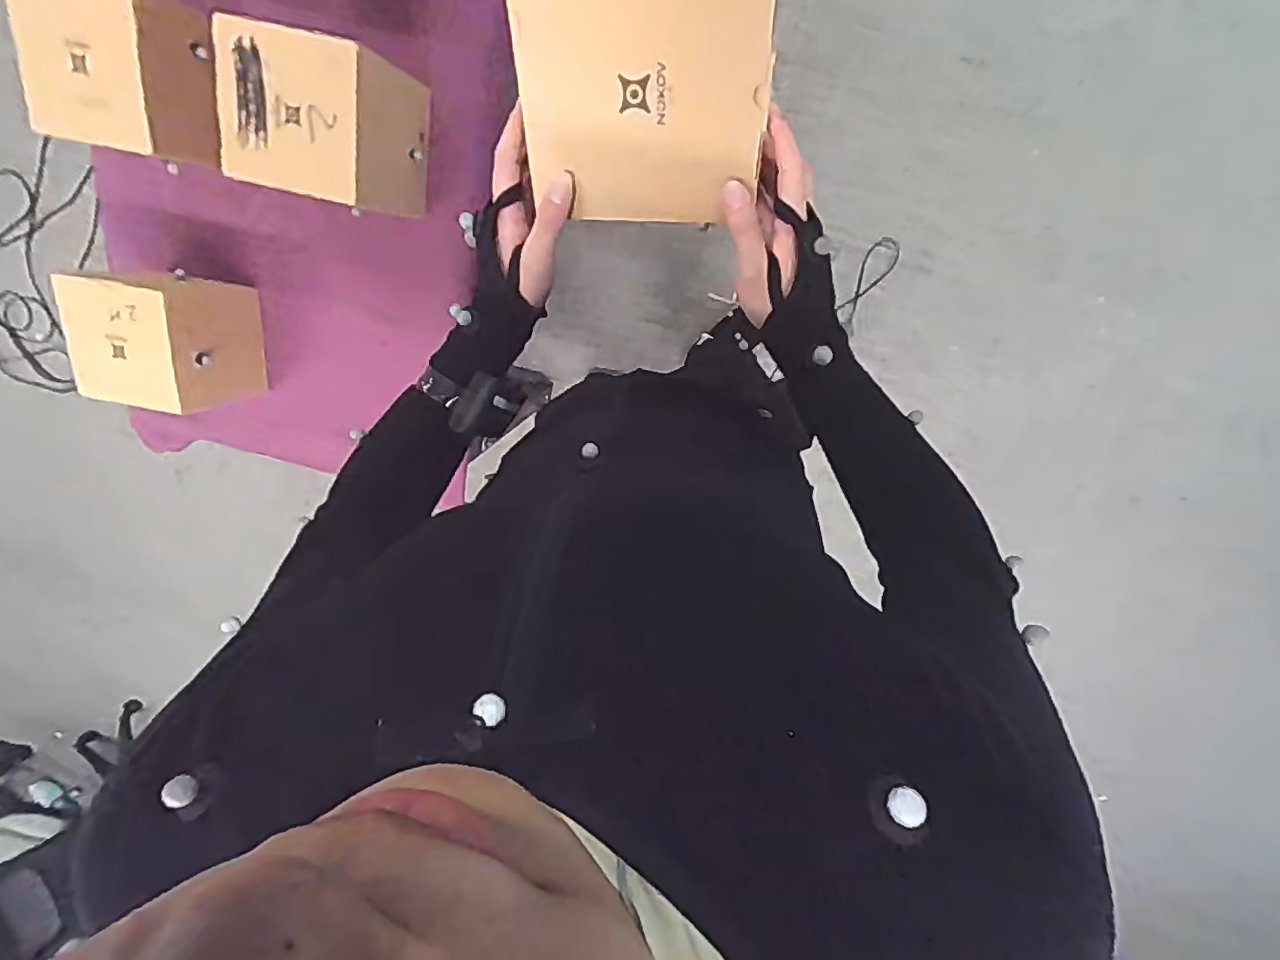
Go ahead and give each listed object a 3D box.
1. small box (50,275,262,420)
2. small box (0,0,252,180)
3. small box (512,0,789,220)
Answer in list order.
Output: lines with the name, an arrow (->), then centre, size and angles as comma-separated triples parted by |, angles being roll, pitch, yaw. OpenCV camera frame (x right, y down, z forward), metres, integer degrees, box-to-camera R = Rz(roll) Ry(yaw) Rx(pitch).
small box -> -0.718, -0.209, 0.828 | 0.168, 0.176, 0.179 | 11, 112, 3
small box -> -0.650, -0.516, 0.706 | 0.168, 0.176, 0.179 | 13, 112, 3
small box -> 0.016, -0.315, 0.420 | 0.179, 0.176, 0.168 | 4, 132, 6
